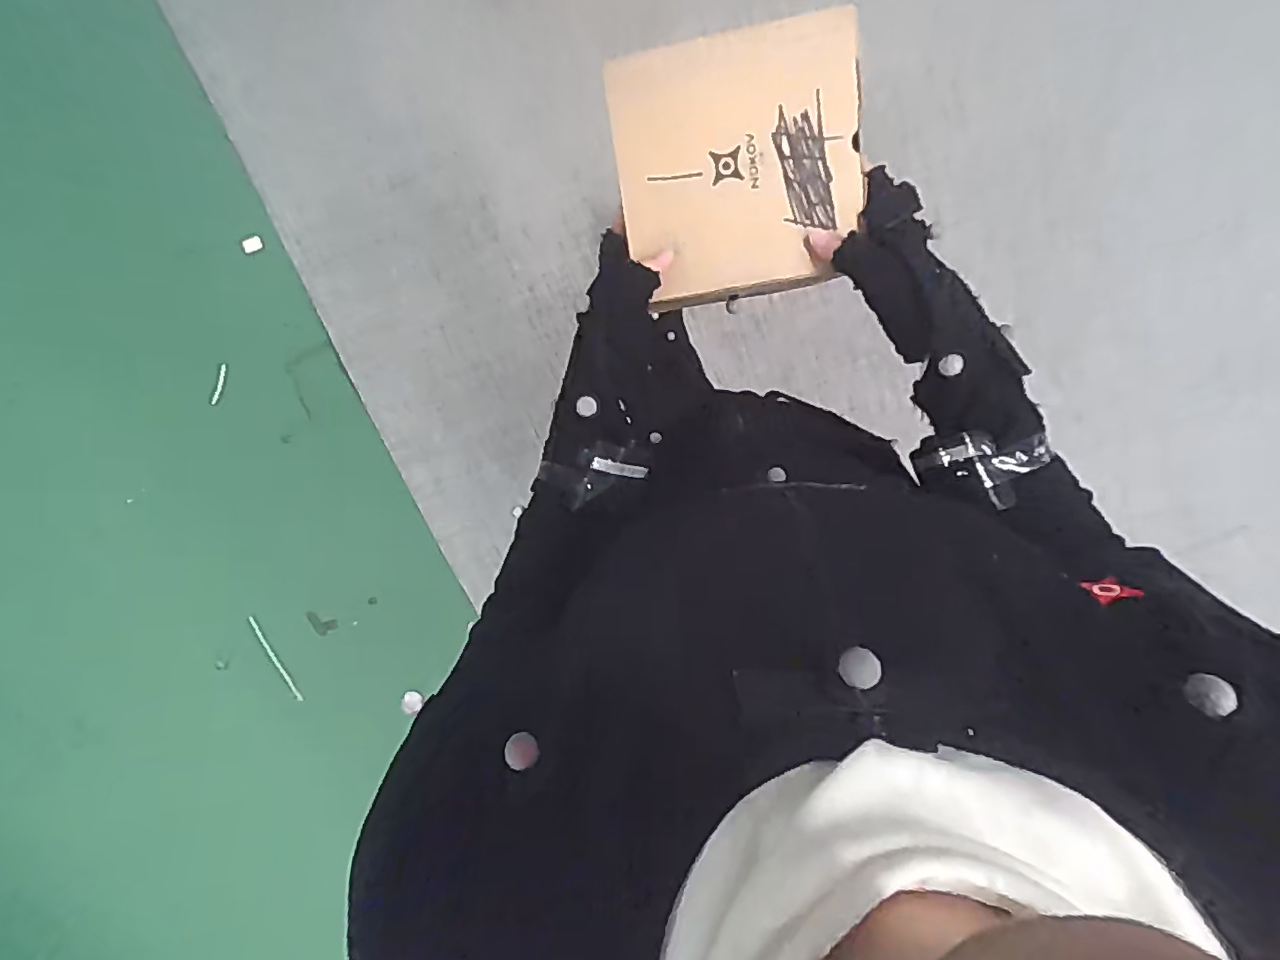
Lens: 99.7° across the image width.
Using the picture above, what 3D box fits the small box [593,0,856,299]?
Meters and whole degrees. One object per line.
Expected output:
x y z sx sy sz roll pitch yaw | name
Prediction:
0.069 -0.255 0.463 0.179 0.176 0.168 -7 104 7 | small box
